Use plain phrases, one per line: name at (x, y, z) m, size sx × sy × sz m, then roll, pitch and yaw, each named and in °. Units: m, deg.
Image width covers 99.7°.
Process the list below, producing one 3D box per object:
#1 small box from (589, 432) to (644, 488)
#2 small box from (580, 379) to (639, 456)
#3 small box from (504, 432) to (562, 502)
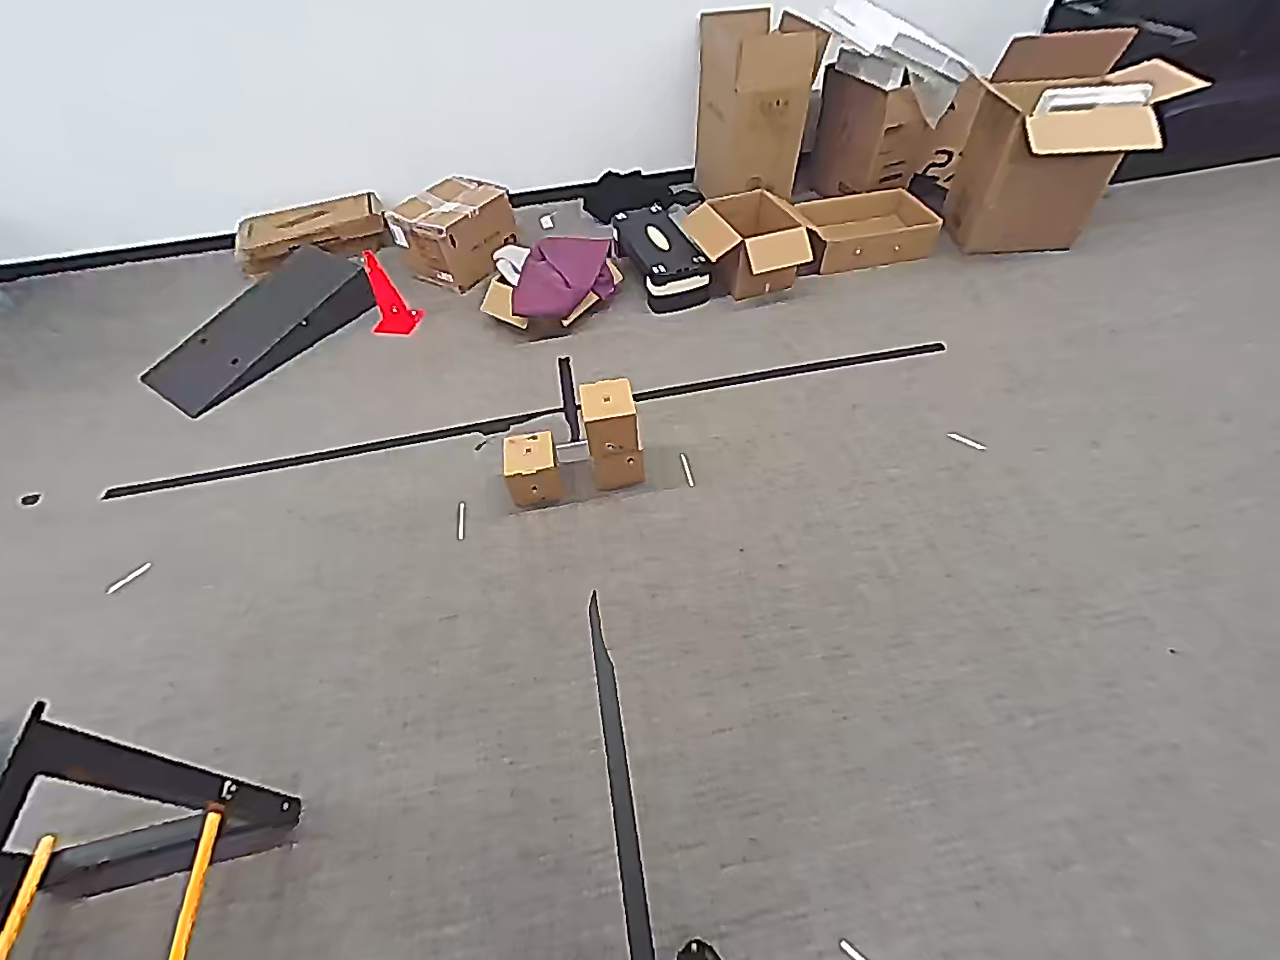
small box at (-0.086, -0.092, 1.896) m, size 0.179 × 0.176 × 0.168 m, roll -11°, pitch 51°, yaw -6°
small box at (-0.100, -0.203, 1.777) m, size 0.168 × 0.176 × 0.179 m, roll -10°, pitch 52°, yaw -4°
small box at (-0.367, -0.039, 1.870) m, size 0.168 × 0.176 × 0.179 m, roll -9°, pitch 52°, yaw -3°
